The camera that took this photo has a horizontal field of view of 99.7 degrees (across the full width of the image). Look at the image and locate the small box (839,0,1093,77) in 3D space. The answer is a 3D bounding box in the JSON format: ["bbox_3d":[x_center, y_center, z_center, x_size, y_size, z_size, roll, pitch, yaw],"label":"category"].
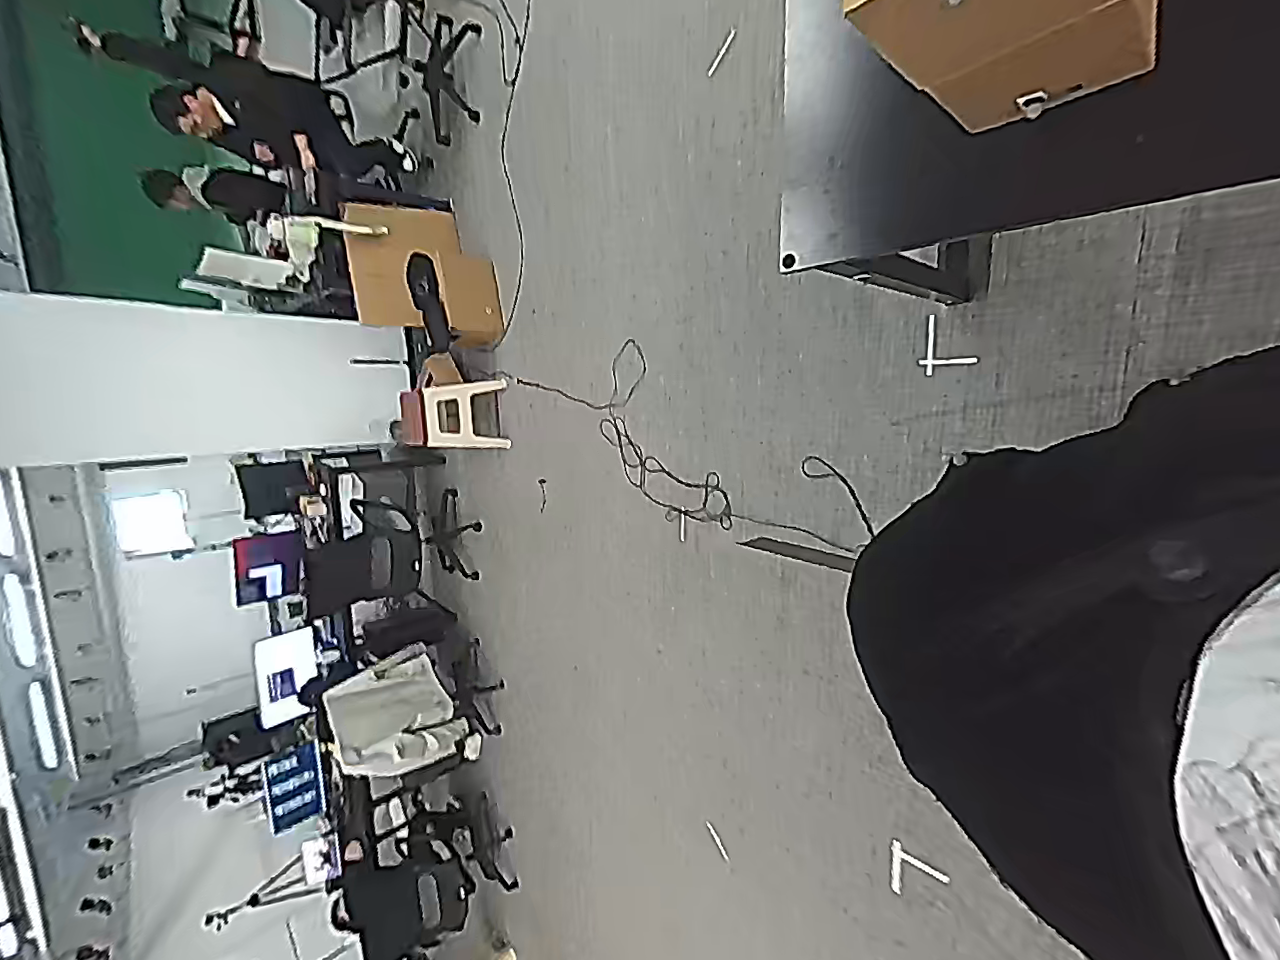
[{"bbox_3d":[0.282,-0.477,0.437,0.179,0.176,0.168,3,99,48],"label":"small box"}]

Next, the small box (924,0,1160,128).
[{"bbox_3d":[0.405,-0.500,0.545,0.168,0.176,0.179,4,101,49],"label":"small box"}]
